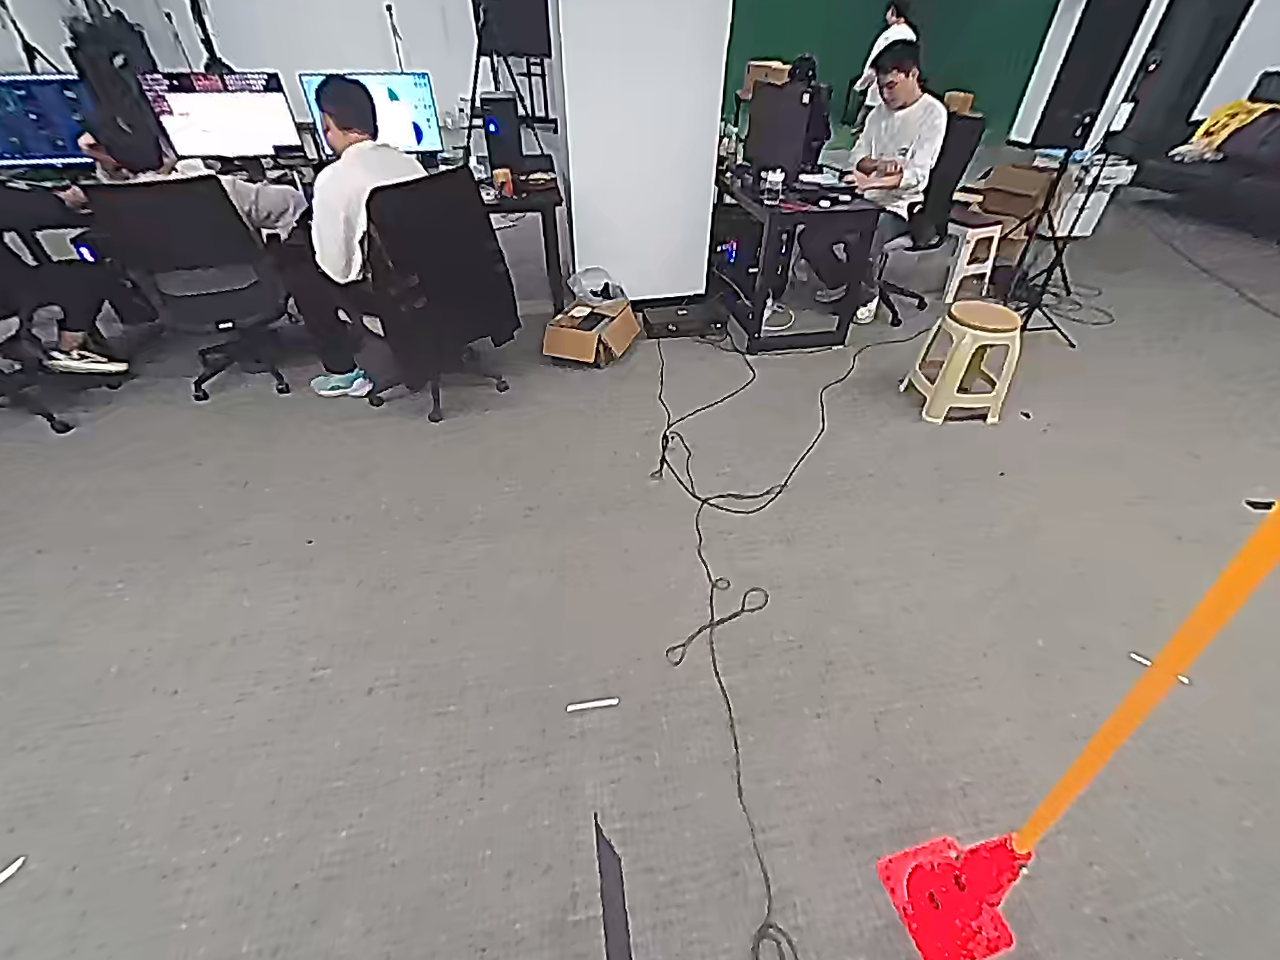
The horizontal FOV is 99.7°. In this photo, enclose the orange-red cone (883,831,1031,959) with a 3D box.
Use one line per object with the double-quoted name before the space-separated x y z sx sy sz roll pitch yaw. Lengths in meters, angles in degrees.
"orange-red cone" 0.627 0.736 0.999 0.199 0.360 0.198 -10 40 -10
